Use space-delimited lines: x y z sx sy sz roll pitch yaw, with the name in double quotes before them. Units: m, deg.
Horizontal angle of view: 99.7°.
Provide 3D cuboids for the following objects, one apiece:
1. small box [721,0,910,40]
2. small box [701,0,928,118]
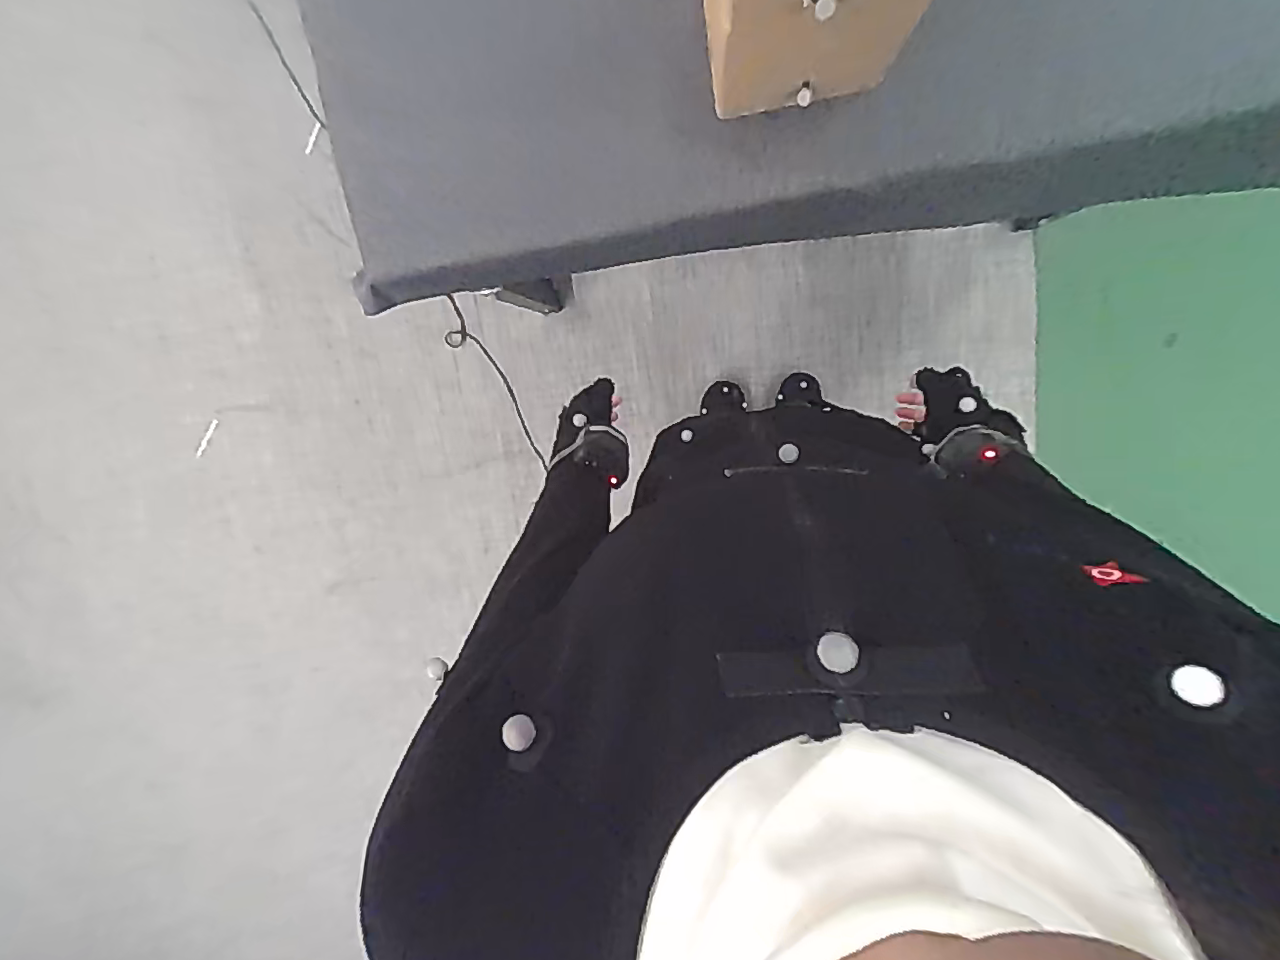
"small box" 0.128 -0.443 0.348 0.168 0.176 0.179 -6 102 10
"small box" 0.149 -0.476 0.506 0.179 0.176 0.168 -6 100 8
